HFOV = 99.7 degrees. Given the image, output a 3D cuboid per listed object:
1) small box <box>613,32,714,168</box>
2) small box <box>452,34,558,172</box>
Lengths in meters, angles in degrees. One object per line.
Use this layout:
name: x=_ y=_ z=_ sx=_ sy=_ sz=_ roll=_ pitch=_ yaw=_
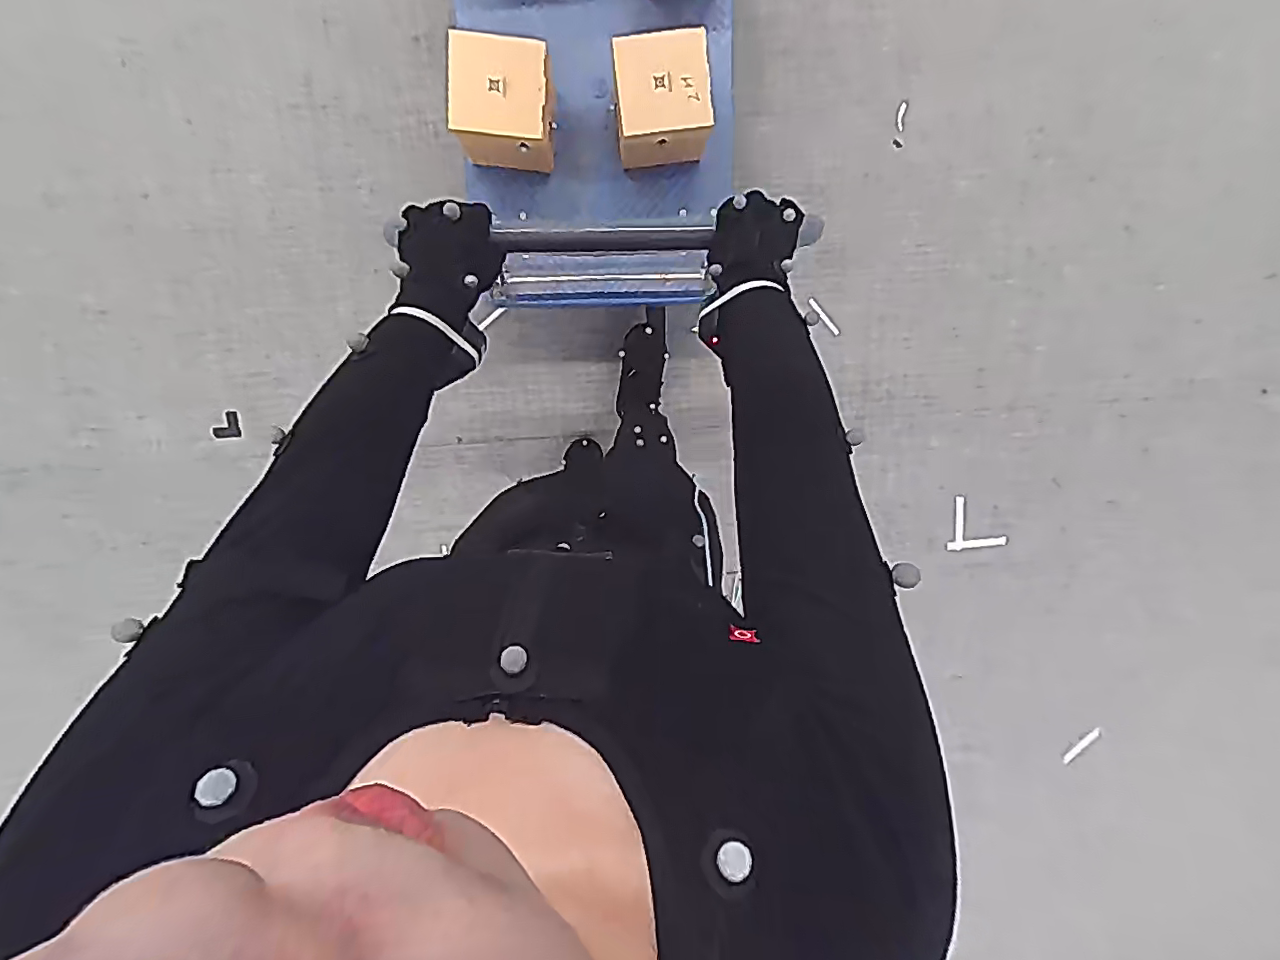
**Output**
small box: x=0.043 y=-0.748 z=1.084 sx=0.179 sy=0.176 sz=0.168 roll=-8 pitch=102 yaw=-1
small box: x=-0.262 y=-0.733 z=1.072 sx=0.179 sy=0.176 sz=0.168 roll=3 pitch=101 yaw=-5
